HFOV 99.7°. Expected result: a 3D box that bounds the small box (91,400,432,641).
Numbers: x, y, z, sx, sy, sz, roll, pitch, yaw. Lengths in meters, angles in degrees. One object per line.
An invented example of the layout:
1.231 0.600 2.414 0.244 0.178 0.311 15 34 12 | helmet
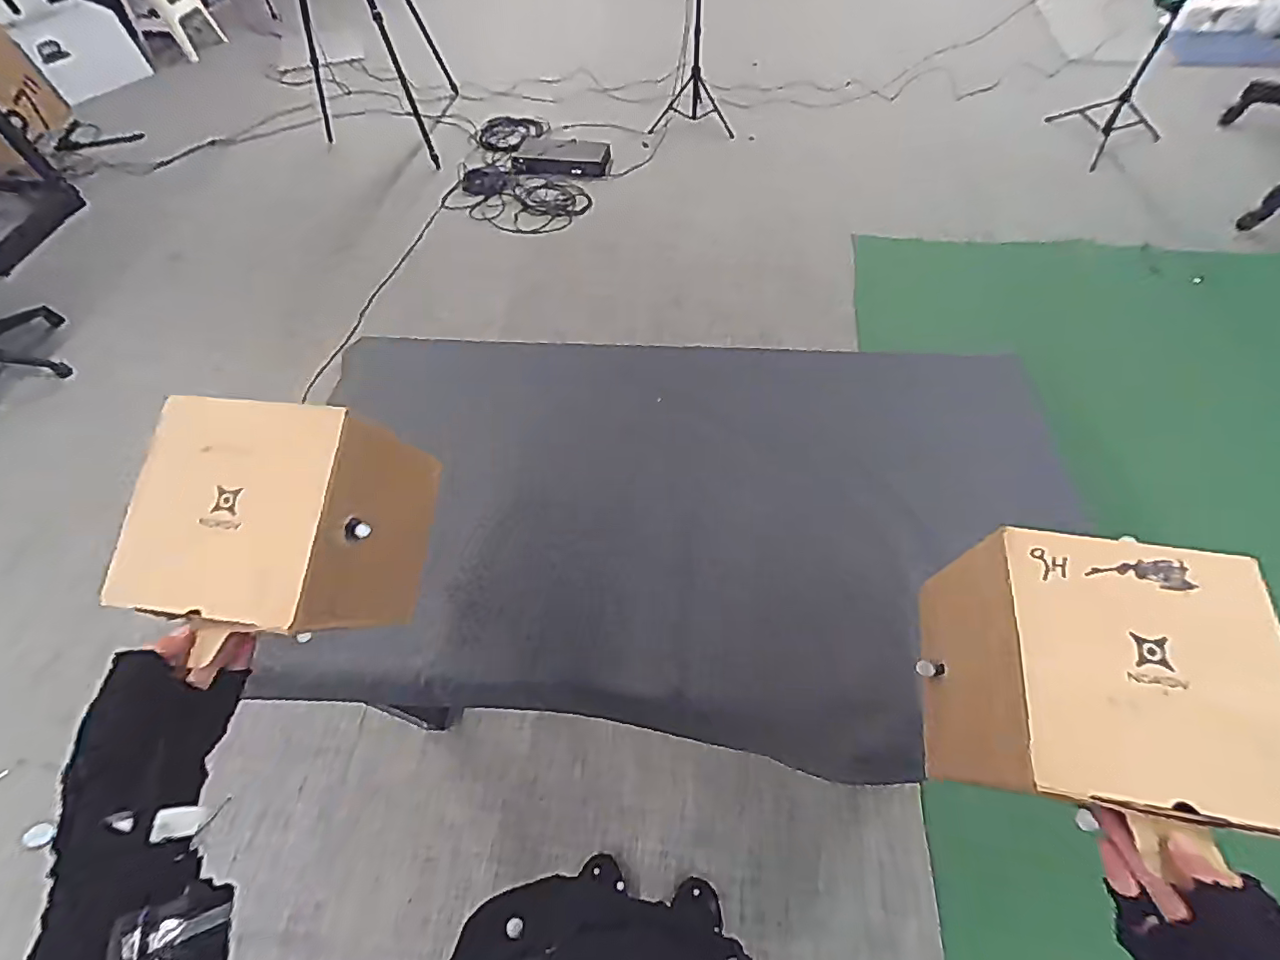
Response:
-0.313 0.044 0.491 0.168 0.176 0.179 5 76 7 | small box

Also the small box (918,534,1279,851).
0.336 0.161 0.425 0.168 0.176 0.179 7 65 8 | small box
